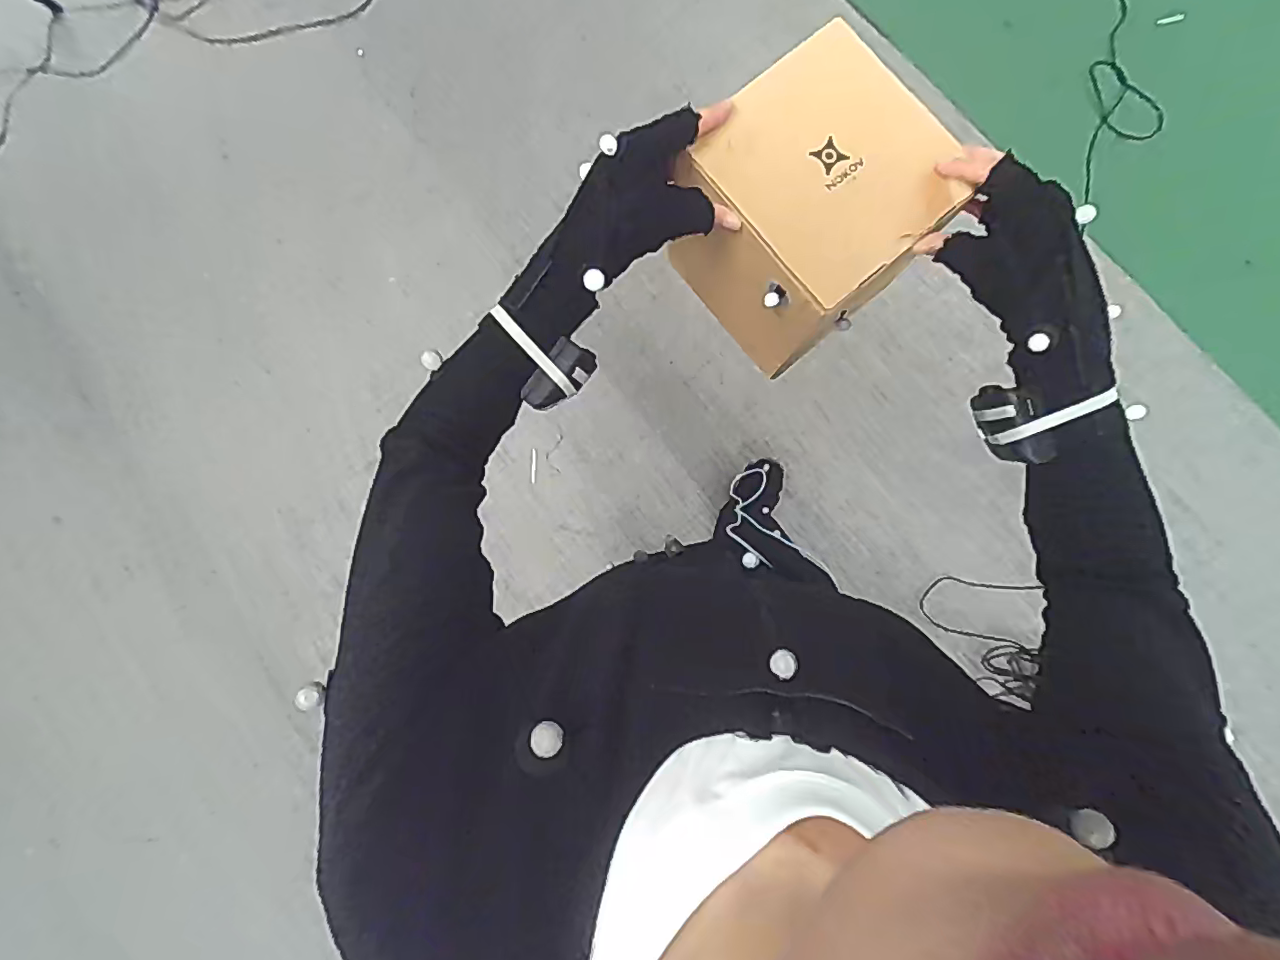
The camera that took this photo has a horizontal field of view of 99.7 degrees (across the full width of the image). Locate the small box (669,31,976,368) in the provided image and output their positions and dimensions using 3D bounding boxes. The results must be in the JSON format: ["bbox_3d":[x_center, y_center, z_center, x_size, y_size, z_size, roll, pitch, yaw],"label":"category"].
[{"bbox_3d":[0.142,-0.233,0.494,0.168,0.176,0.179,-39,86,-5],"label":"small box"}]
